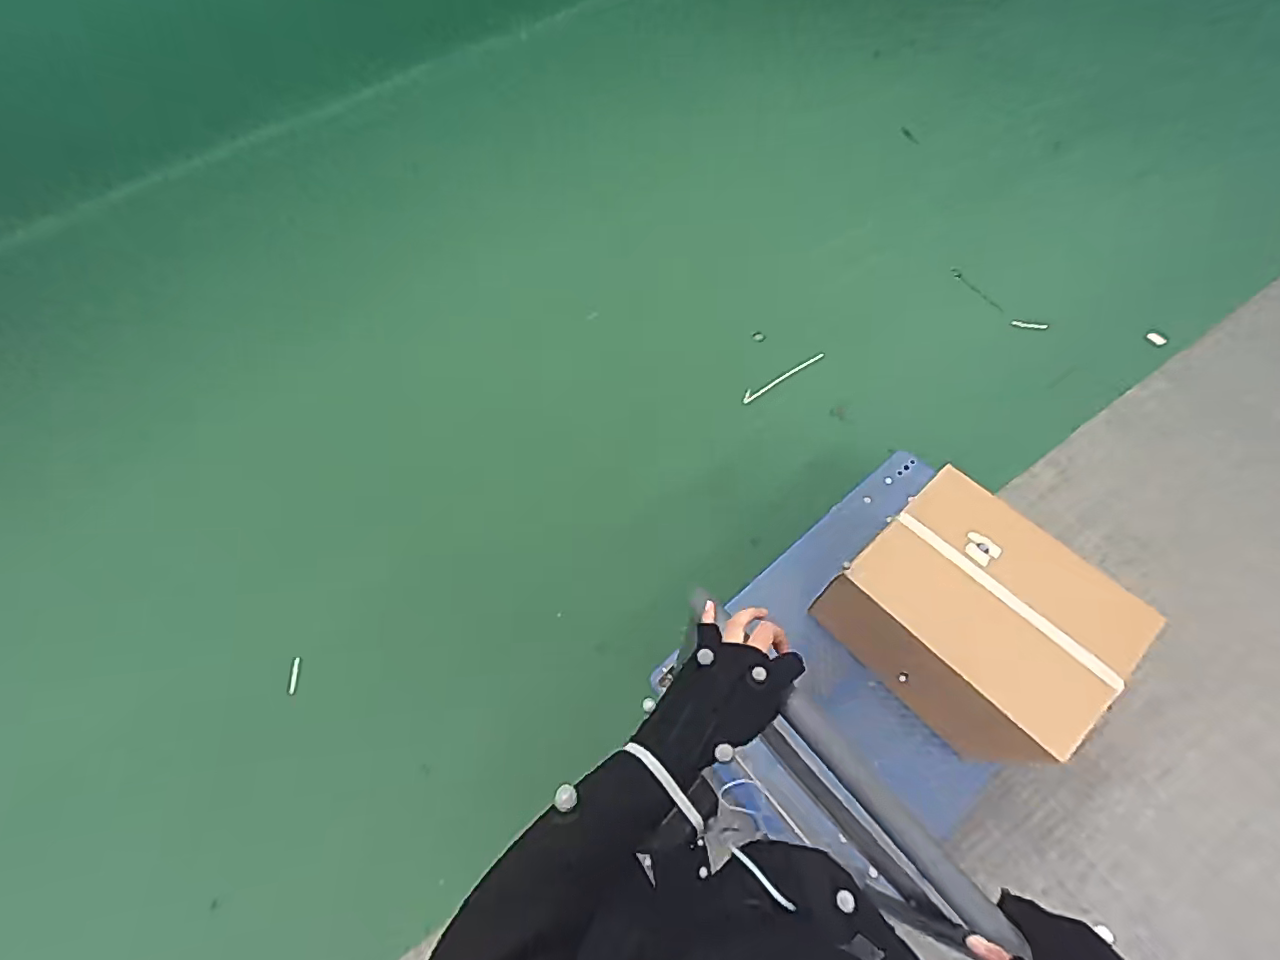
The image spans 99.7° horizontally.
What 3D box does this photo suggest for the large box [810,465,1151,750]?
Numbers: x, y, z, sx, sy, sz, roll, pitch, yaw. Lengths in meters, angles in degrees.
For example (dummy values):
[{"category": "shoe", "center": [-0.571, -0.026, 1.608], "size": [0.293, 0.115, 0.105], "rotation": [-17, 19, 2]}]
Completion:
[{"category": "large box", "center": [0.610, 0.254, 1.054], "size": [0.320, 0.320, 0.408], "rotation": [-40, 66, -15]}]
